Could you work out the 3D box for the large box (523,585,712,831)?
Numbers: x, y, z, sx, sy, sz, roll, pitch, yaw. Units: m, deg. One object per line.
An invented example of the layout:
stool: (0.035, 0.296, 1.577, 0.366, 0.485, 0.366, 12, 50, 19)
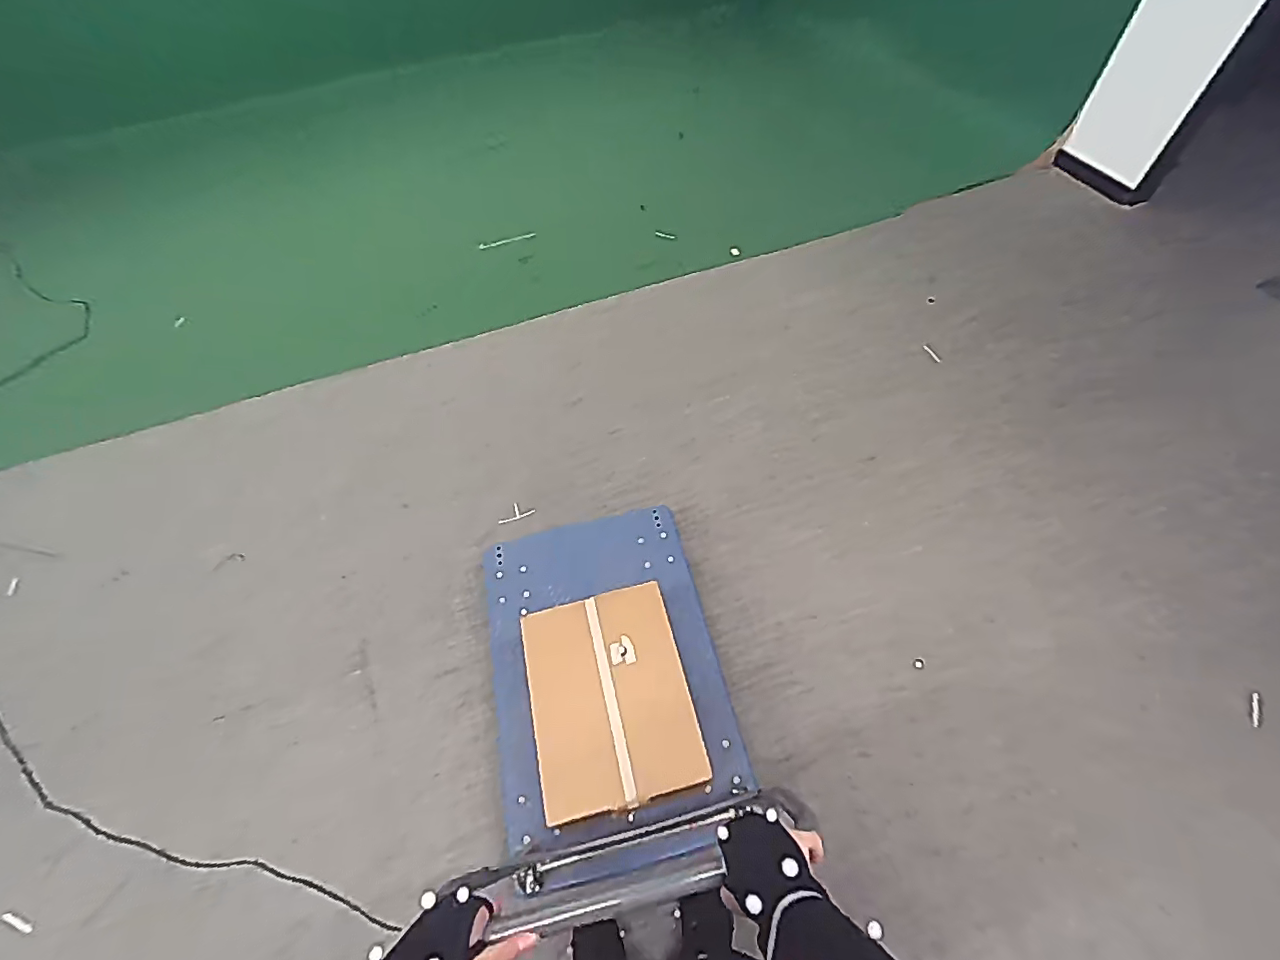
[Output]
large box: (-0.049, 0.509, 1.208, 0.320, 0.320, 0.408, -13, 55, -5)
